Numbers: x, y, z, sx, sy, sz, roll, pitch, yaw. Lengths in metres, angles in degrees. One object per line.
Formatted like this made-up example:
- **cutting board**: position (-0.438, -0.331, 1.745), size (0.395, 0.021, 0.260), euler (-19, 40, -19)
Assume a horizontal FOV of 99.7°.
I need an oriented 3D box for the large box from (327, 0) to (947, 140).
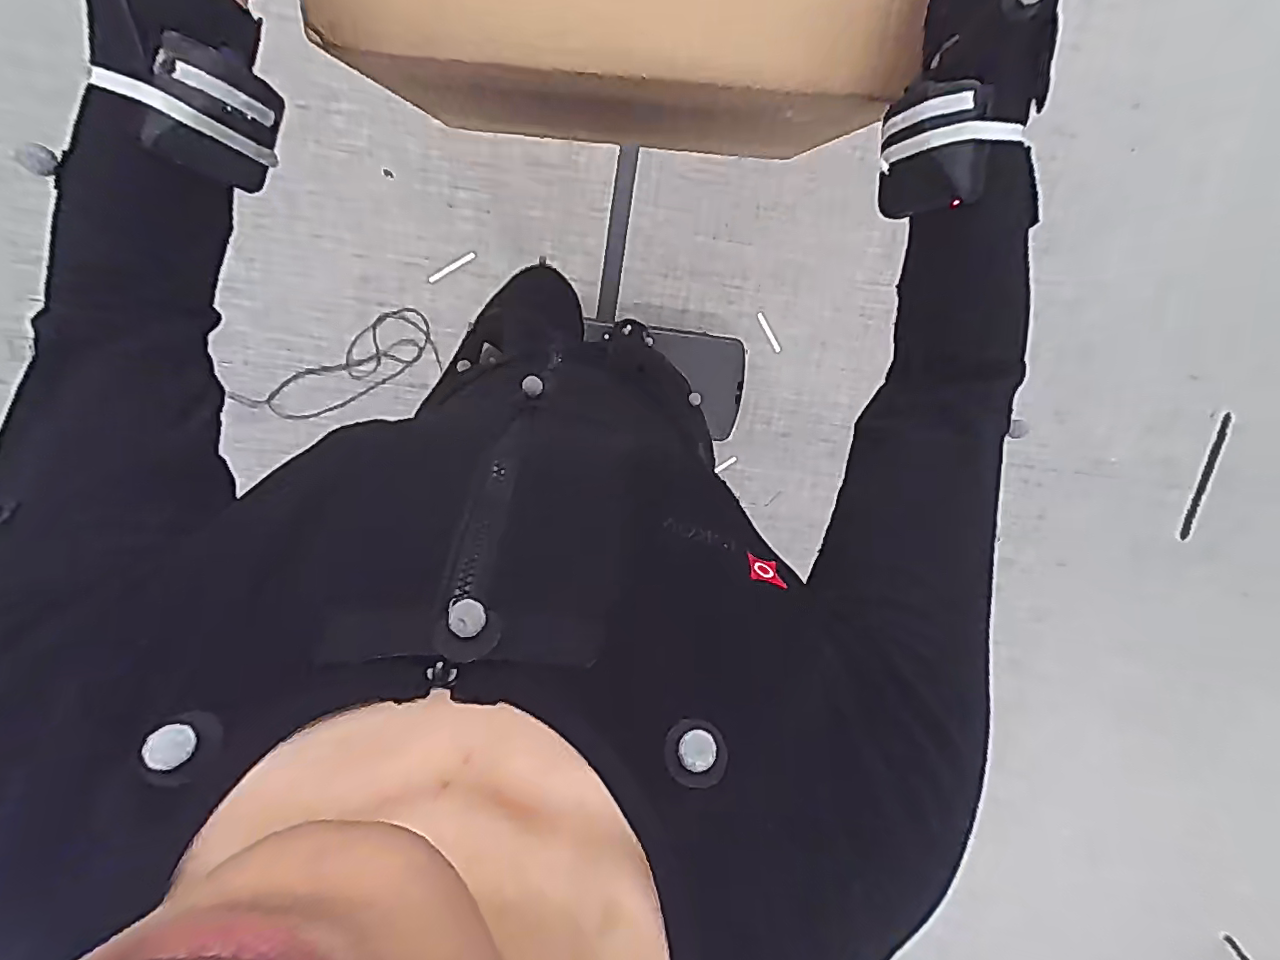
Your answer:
- **large box**: position (-0.001, -0.480, 0.426), size (0.408, 0.320, 0.320), euler (2, 116, -5)
